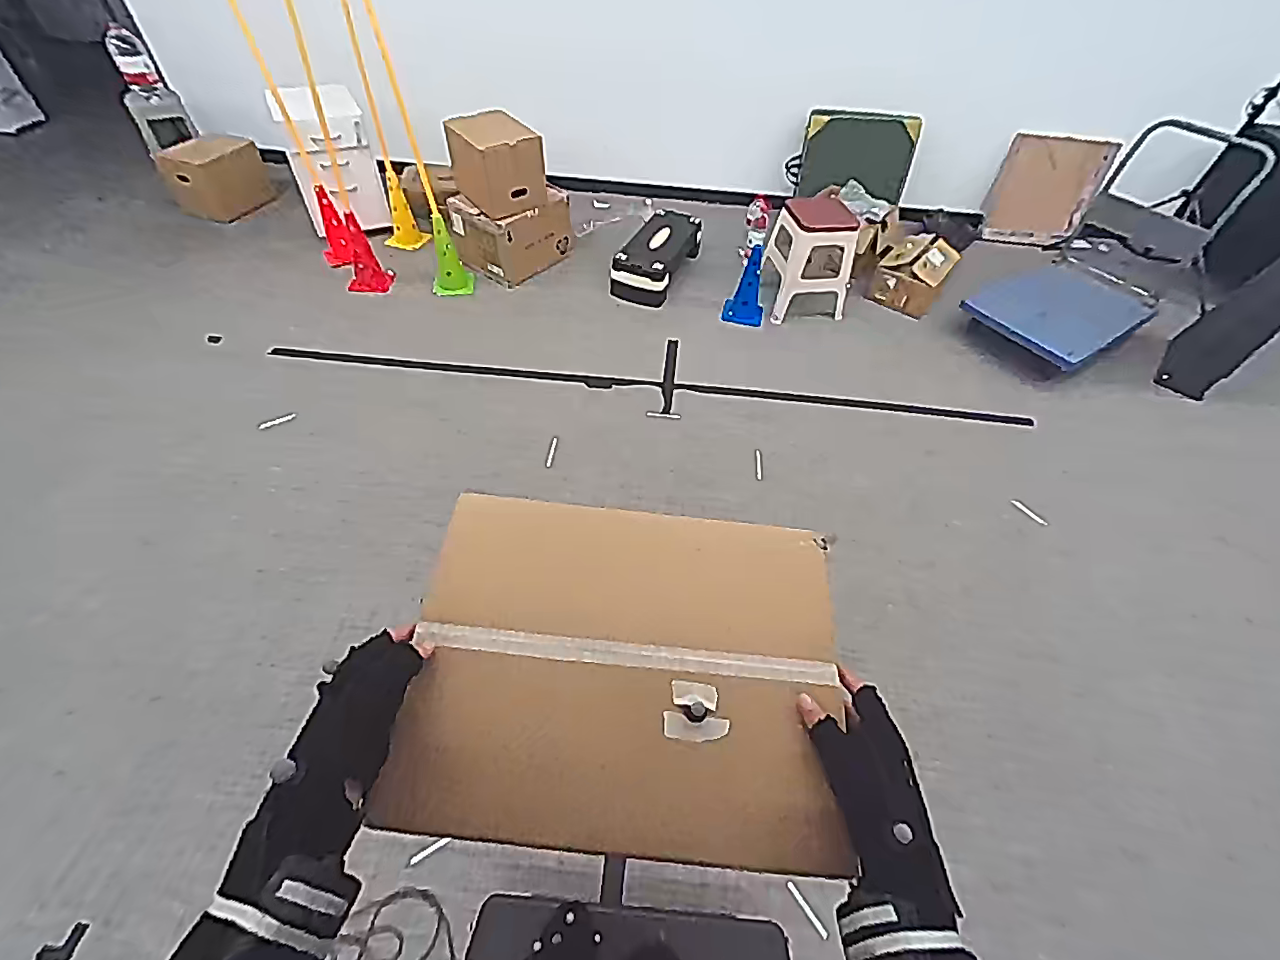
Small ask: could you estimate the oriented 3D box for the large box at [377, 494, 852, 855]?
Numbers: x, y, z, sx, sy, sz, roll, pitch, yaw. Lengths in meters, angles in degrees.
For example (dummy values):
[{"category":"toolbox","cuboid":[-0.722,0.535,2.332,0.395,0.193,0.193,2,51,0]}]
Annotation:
[{"category":"large box","cuboid":[-0.020,0.243,0.648,0.408,0.320,0.320,7,57,-1]}]
